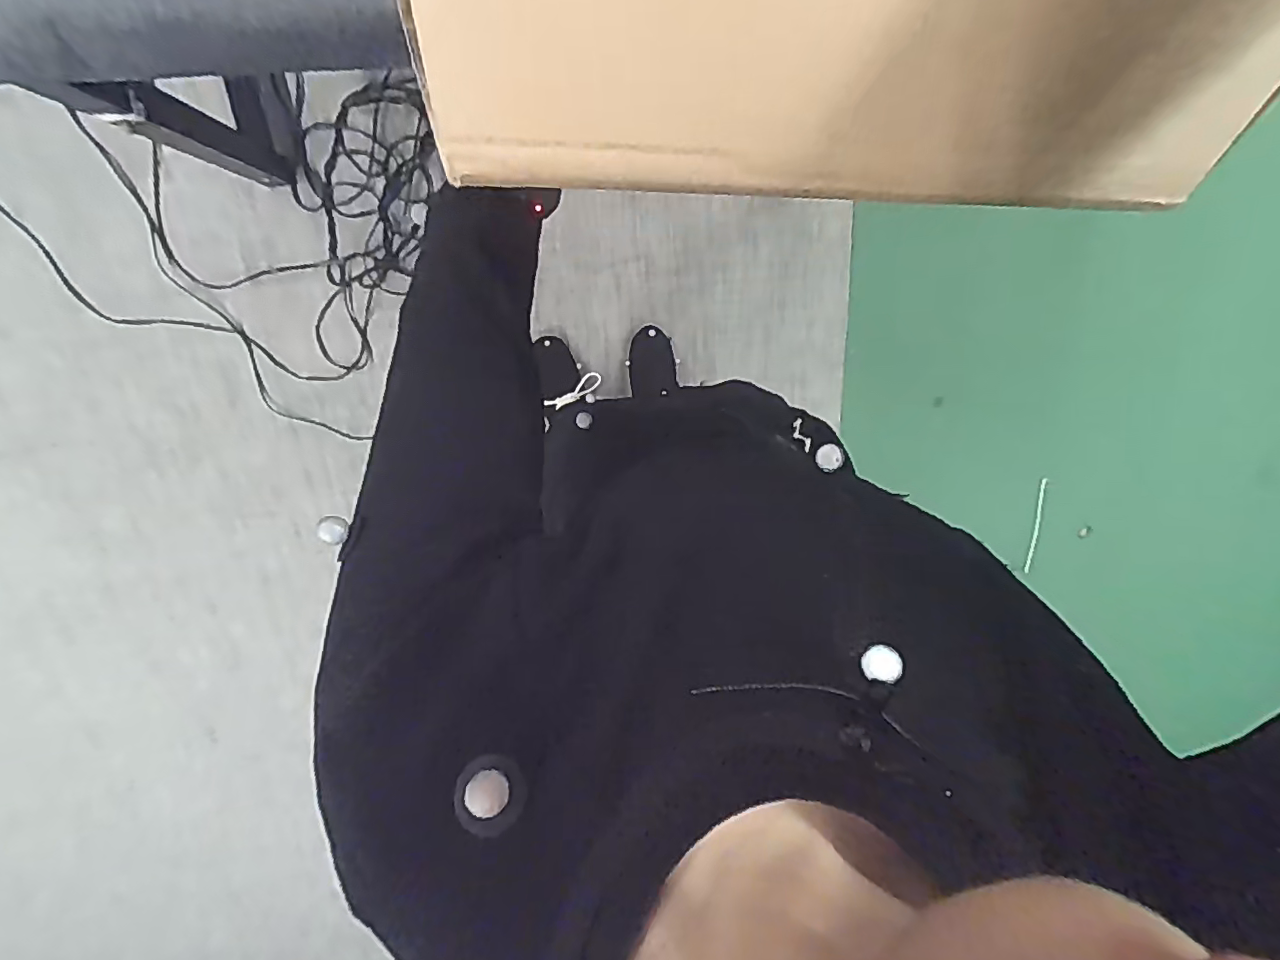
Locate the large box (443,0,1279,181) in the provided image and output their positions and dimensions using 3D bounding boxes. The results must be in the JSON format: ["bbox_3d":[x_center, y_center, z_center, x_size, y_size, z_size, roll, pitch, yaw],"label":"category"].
[{"bbox_3d":[0.070,-0.373,0.229,0.320,0.408,0.320,-2,142,-6],"label":"large box"}]
